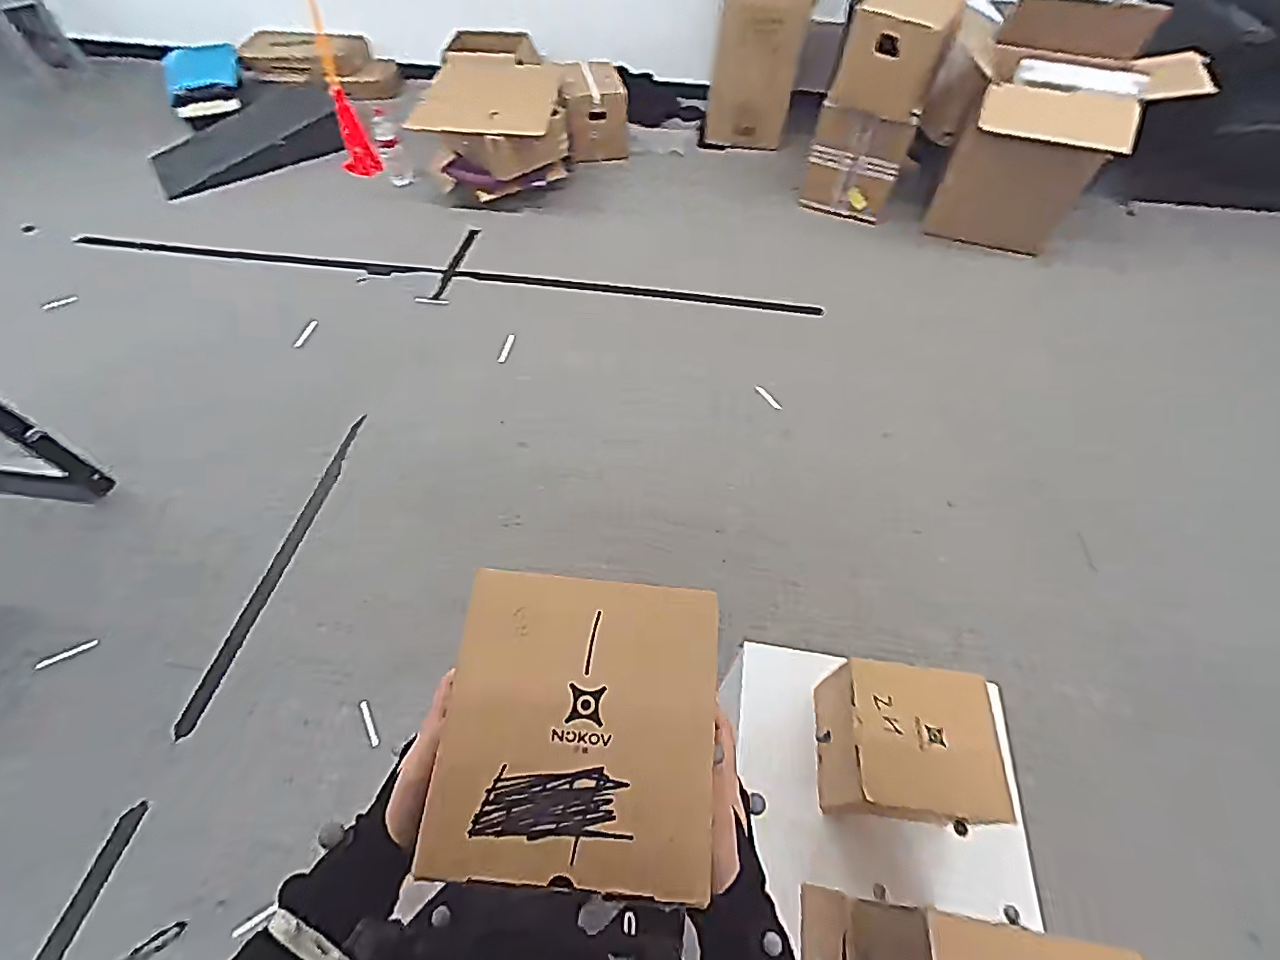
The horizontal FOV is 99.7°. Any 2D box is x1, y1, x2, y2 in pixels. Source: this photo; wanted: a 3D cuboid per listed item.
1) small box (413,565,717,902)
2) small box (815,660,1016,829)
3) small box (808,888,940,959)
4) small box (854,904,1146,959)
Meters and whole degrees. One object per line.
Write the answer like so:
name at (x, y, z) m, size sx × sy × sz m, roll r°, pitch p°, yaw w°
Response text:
small box at (-0.042, 0.178, 0.403) m, size 0.168 × 0.176 × 0.179 m, roll 6°, pitch 64°, yaw -2°
small box at (0.346, 0.355, 0.720) m, size 0.179 × 0.176 × 0.168 m, roll 7°, pitch 56°, yaw 4°
small box at (0.282, 0.559, 0.580) m, size 0.179 × 0.176 × 0.168 m, roll 9°, pitch 55°, yaw 6°
small box at (0.296, 0.468, 0.445) m, size 0.179 × 0.176 × 0.168 m, roll 8°, pitch 54°, yaw 5°
